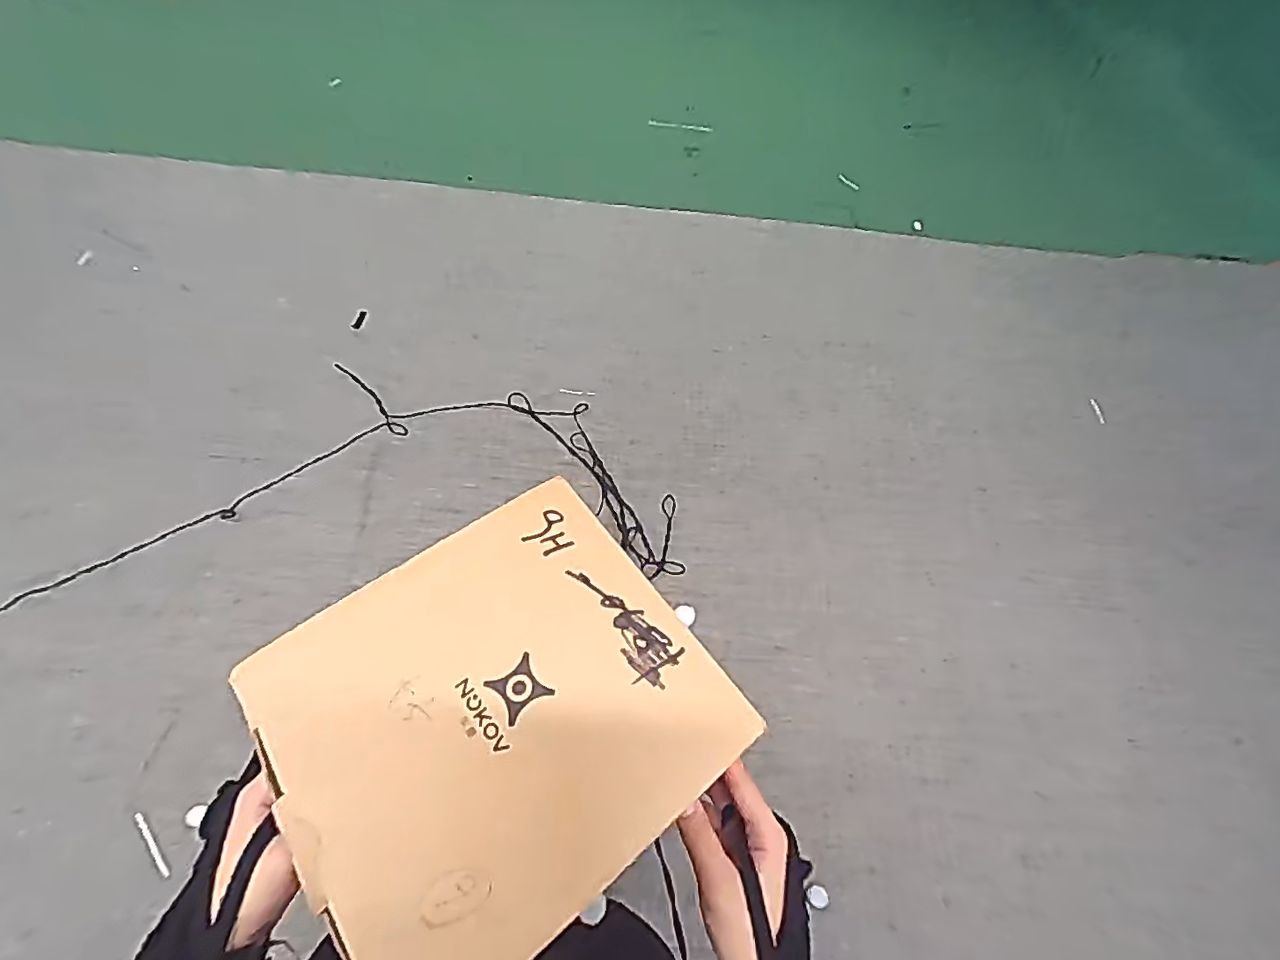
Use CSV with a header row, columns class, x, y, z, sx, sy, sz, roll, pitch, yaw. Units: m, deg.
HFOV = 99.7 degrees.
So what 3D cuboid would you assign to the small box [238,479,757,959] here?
class,x,y,z,sx,sy,sz,roll,pitch,yaw
small box,-0.066,0.139,0.305,0.179,0.176,0.168,-32,66,-22
